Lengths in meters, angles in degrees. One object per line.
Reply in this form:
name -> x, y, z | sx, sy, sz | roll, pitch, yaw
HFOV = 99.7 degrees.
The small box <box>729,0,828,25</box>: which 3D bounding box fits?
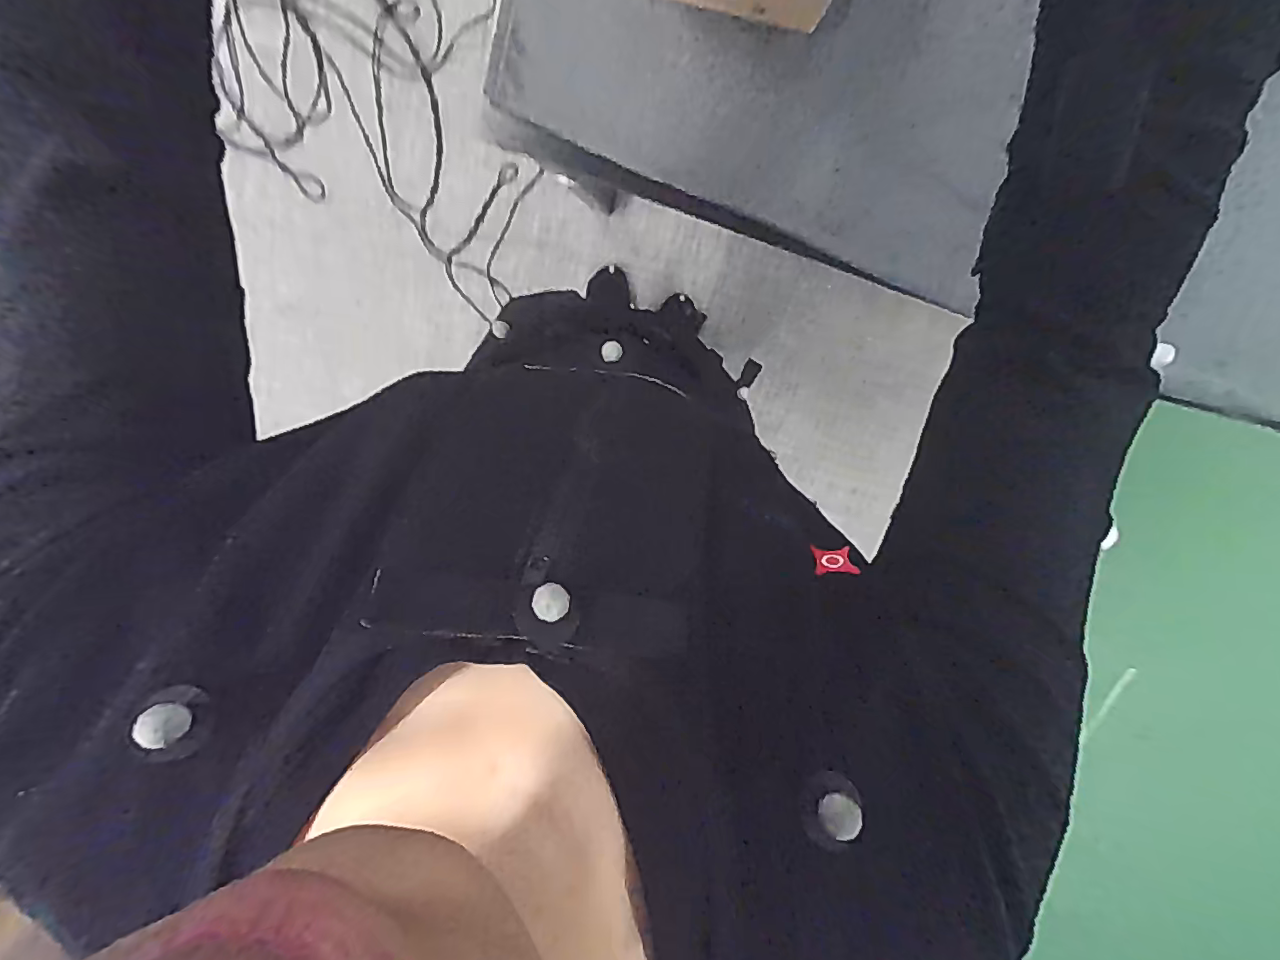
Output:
small box -> 0.116, -0.528, 0.448 | 0.168, 0.176, 0.179 | 13, 110, -2
